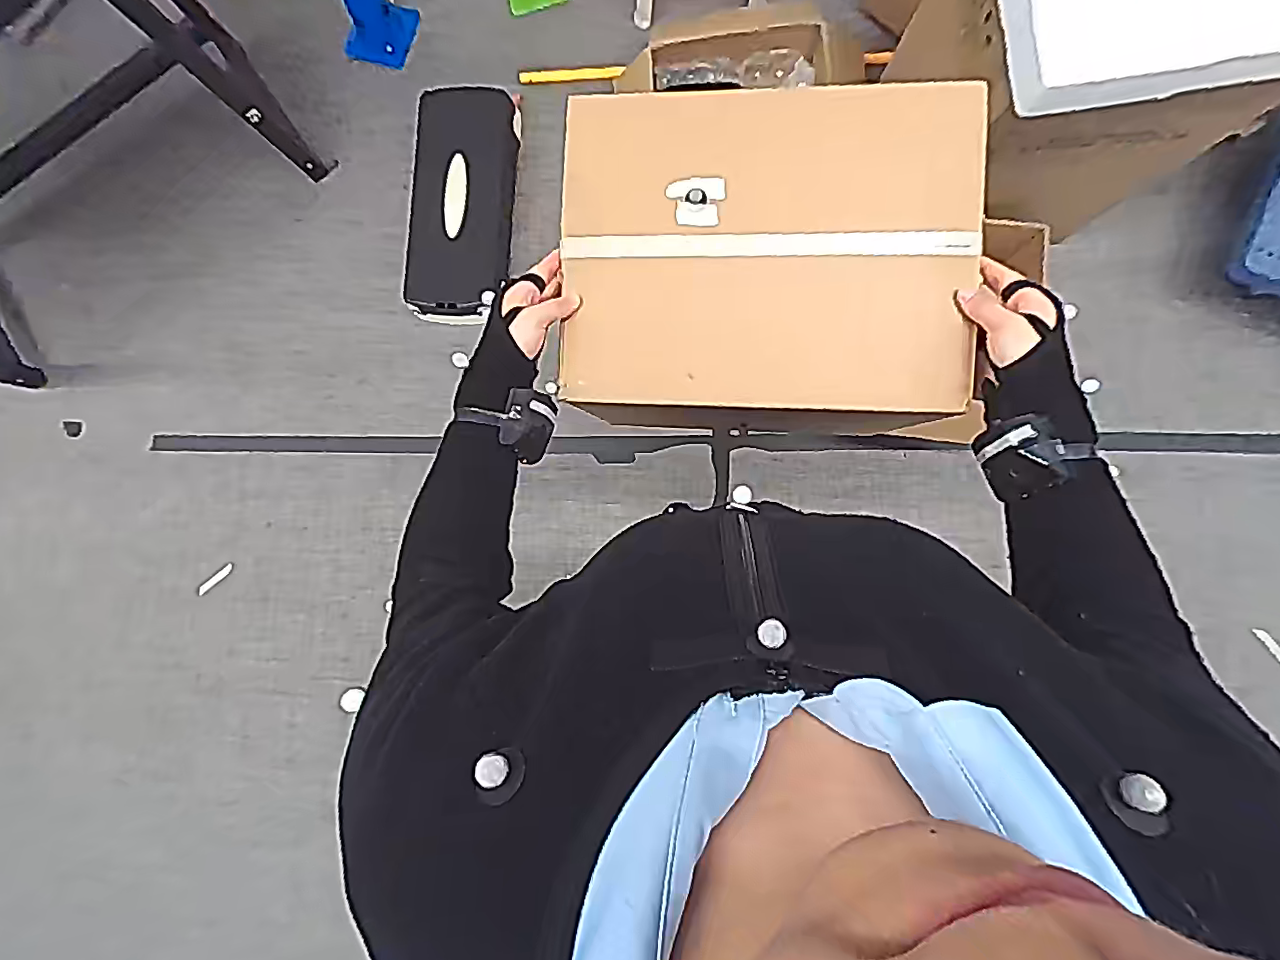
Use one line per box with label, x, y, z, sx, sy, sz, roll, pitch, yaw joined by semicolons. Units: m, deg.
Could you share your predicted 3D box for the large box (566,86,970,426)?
large box;0.141;-0.233;0.695;0.408;0.320;0.320;2;90;7
